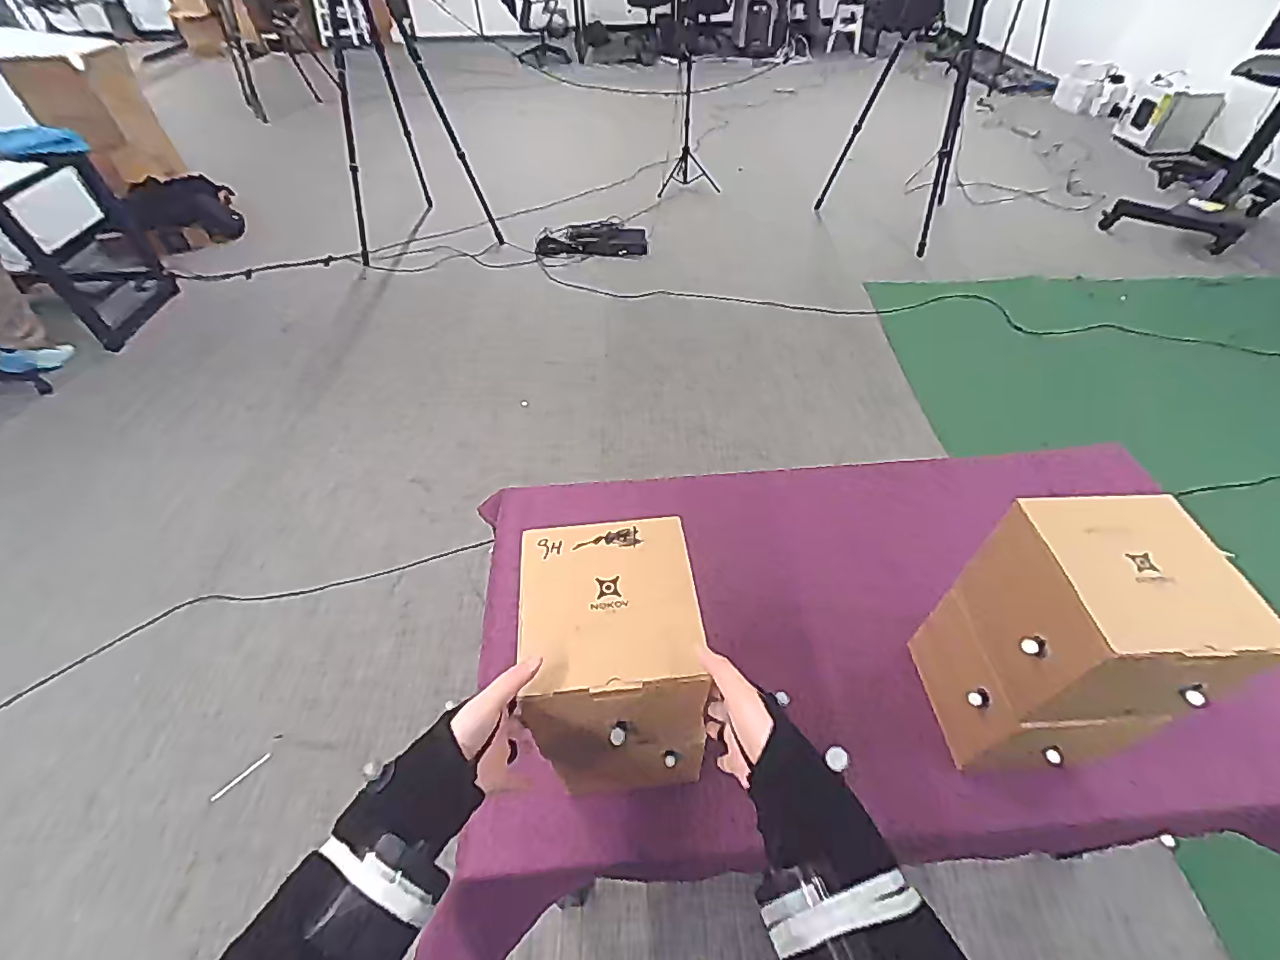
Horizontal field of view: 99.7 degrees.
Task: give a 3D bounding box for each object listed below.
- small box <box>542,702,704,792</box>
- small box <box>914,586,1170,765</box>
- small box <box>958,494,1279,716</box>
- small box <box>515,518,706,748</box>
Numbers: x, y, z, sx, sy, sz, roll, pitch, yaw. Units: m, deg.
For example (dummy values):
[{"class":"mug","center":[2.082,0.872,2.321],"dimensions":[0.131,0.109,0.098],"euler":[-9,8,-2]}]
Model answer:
[{"class":"small box","center":[-0.021,0.278,0.683],"dimensions":[0.179,0.176,0.168],"euler":[-5,47,-3]},{"class":"small box","center":[0.481,0.249,0.685],"dimensions":[0.168,0.176,0.179],"euler":[-3,47,0]},{"class":"small box","center":[0.476,0.135,0.568],"dimensions":[0.168,0.176,0.179],"euler":[-1,47,1]},{"class":"small box","center":[-0.029,0.164,0.564],"dimensions":[0.168,0.176,0.179],"euler":[-5,48,-4]}]
